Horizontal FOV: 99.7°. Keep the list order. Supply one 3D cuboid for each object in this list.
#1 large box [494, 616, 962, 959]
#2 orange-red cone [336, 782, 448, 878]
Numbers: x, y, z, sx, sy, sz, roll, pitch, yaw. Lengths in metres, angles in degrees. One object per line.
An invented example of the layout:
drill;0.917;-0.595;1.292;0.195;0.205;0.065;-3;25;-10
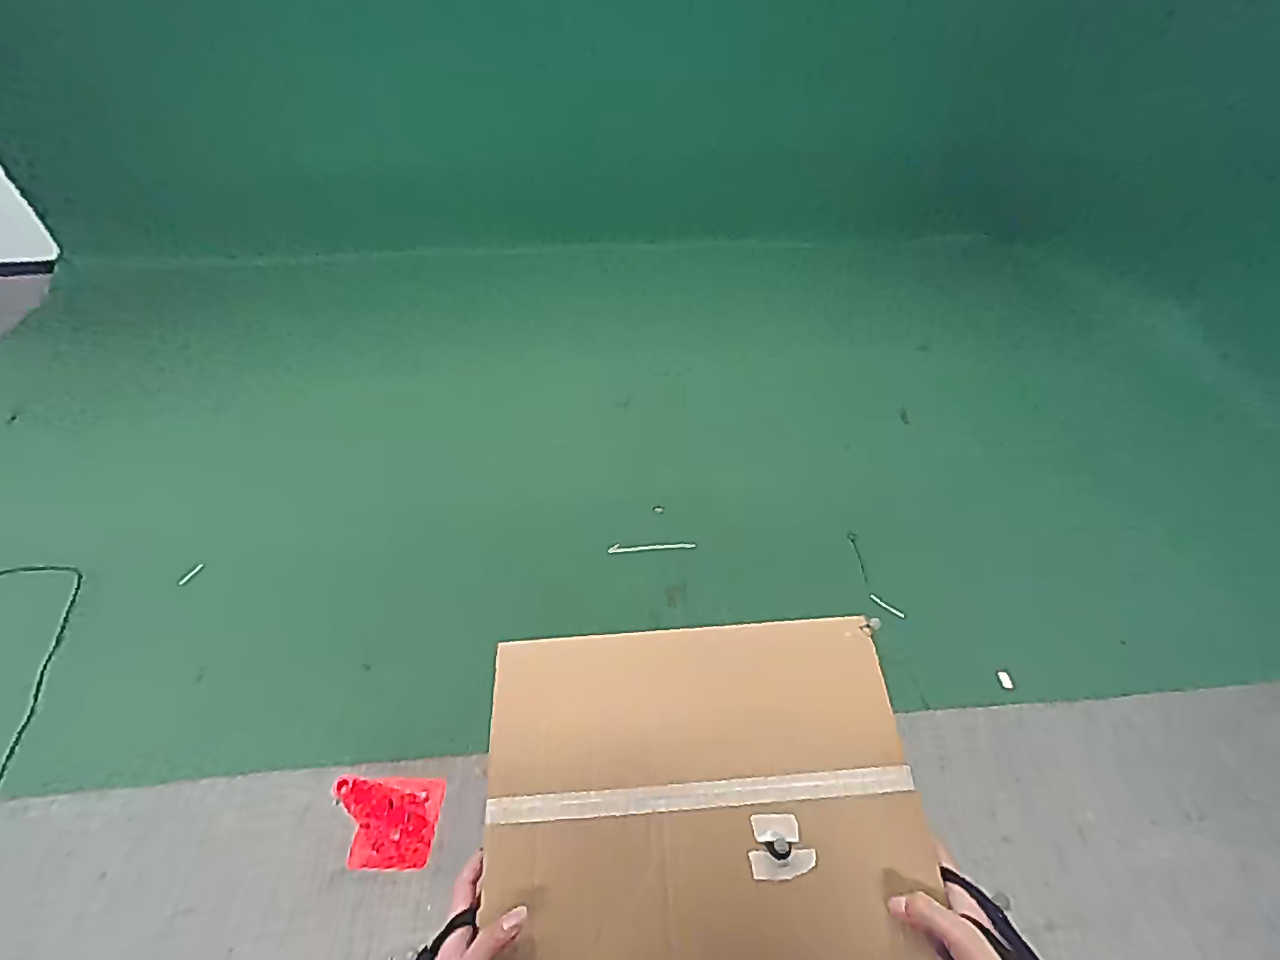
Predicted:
large box;0.064;0.377;0.649;0.408;0.320;0.320;-5;60;-1
orange-red cone;-0.613;0.773;1.253;0.199;0.360;0.198;0;46;3
